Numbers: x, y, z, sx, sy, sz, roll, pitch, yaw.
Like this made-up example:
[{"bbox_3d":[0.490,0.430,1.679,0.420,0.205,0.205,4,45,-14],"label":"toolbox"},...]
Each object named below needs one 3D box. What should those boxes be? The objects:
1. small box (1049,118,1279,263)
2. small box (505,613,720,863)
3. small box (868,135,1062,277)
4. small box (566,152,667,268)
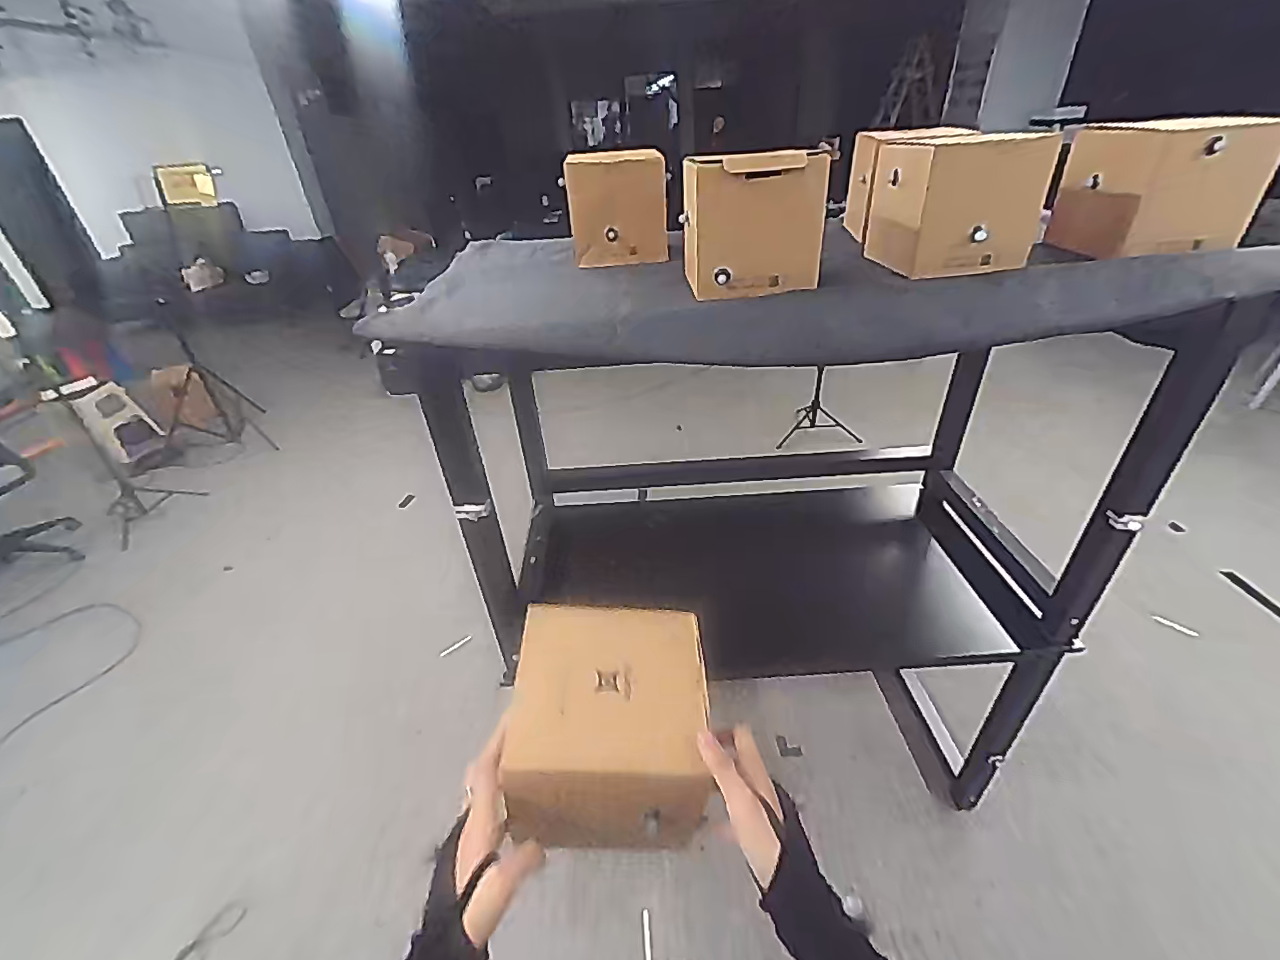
[{"bbox_3d":[0.756,-0.424,0.796,0.168,0.176,0.179,-4,33,2],"label":"small box"},{"bbox_3d":[-0.030,0.257,0.541,0.179,0.176,0.168,4,35,-4],"label":"small box"},{"bbox_3d":[0.457,-0.404,0.798,0.168,0.176,0.179,-4,33,0],"label":"small box"},{"bbox_3d":[-0.041,-0.494,0.988,0.168,0.176,0.179,-5,35,-1],"label":"small box"}]
